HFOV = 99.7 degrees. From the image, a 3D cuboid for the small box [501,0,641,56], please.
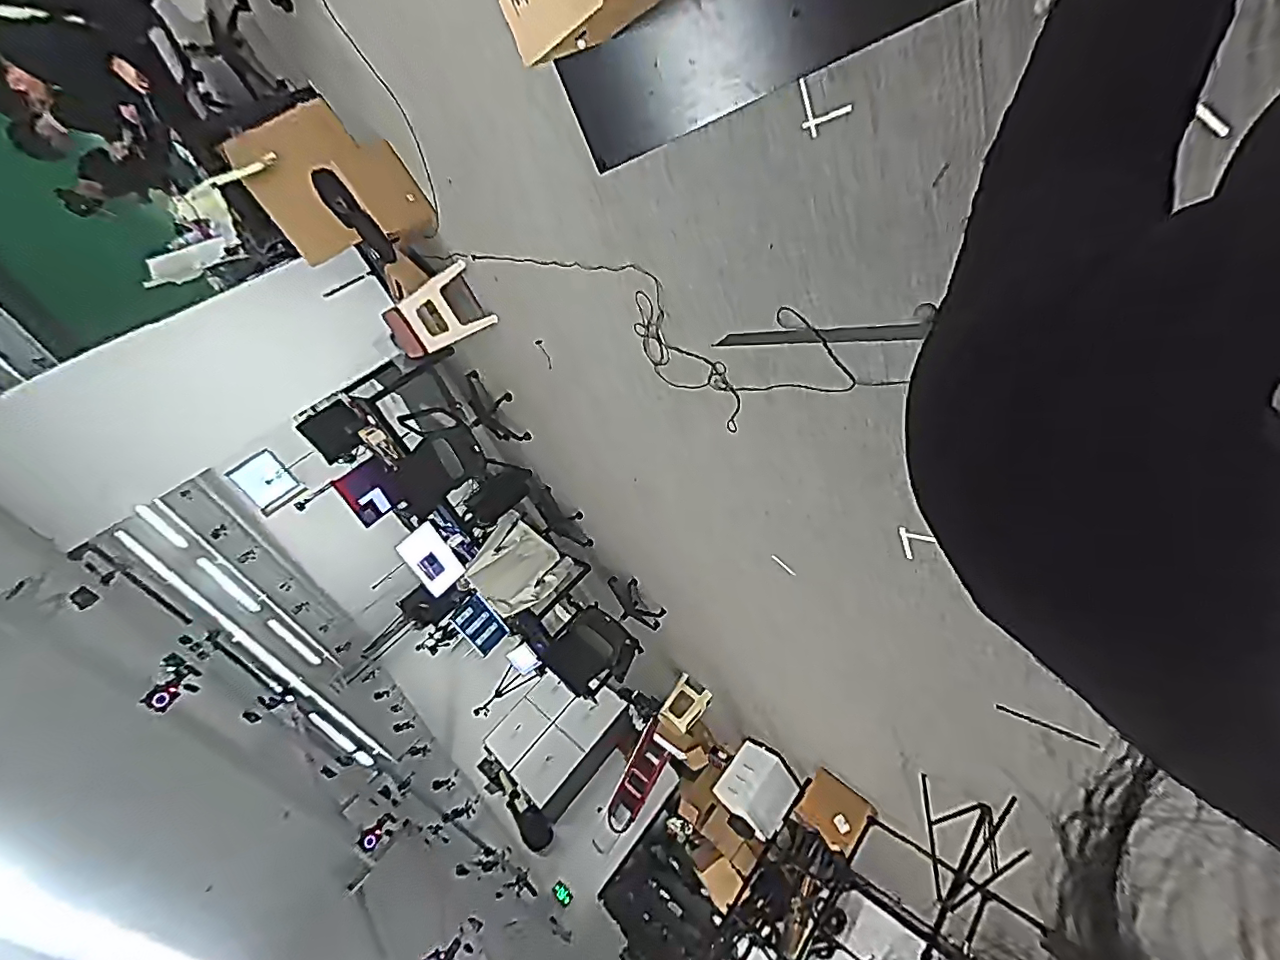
[{"bbox_3d":[-0.078,-0.668,0.661,0.179,0.176,0.168,12,139,47],"label":"small box"}]
